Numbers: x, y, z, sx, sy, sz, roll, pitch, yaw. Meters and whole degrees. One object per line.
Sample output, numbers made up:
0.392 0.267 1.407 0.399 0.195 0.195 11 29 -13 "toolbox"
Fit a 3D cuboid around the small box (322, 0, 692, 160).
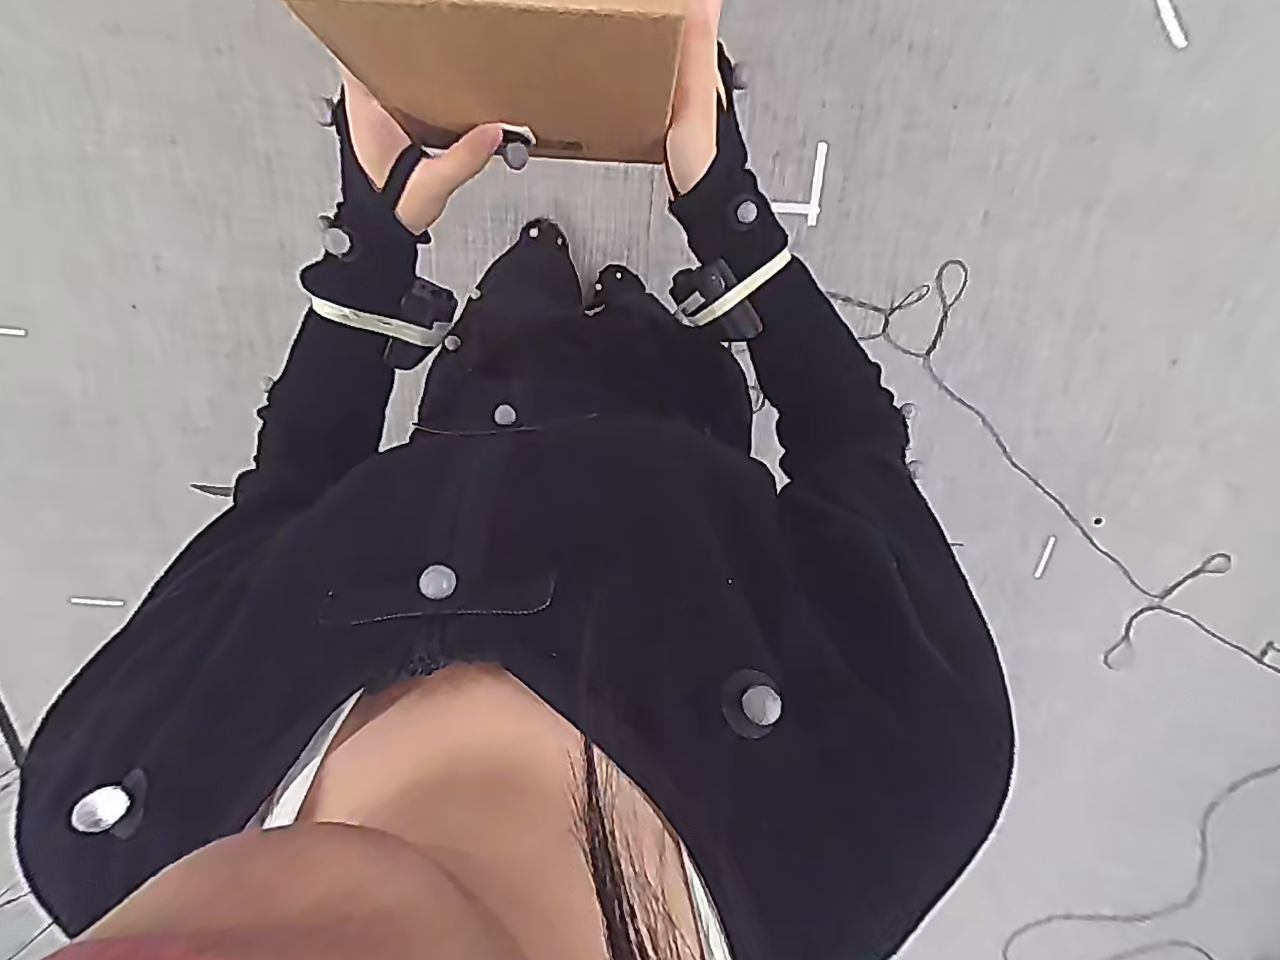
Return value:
-0.058 -0.293 0.276 0.168 0.176 0.179 2 103 -1 "small box"
